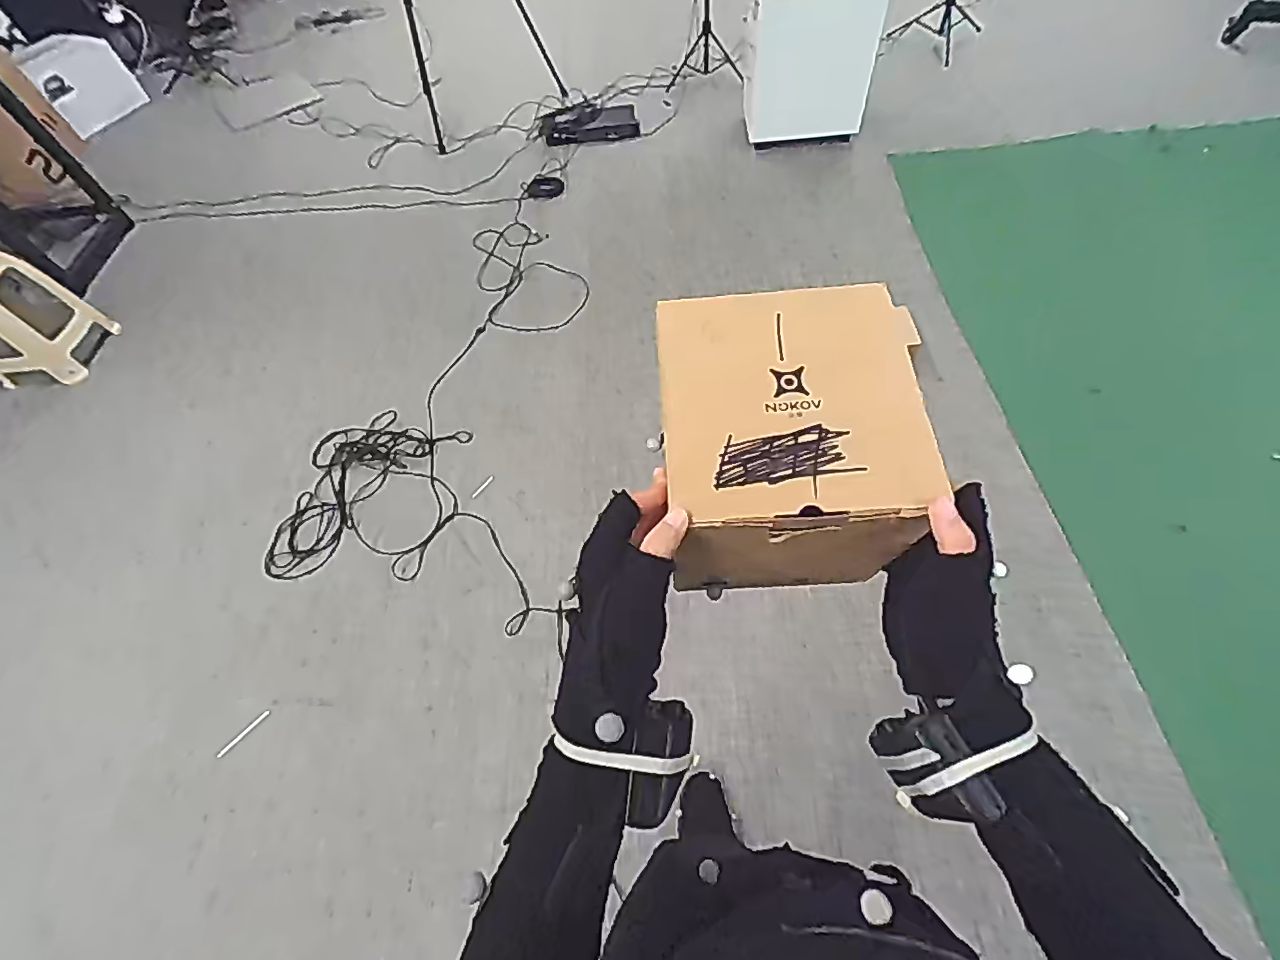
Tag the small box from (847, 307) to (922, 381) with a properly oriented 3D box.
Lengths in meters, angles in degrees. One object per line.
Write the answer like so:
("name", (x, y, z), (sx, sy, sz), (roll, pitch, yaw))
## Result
("small box", (0.802, -0.443, 1.790), (0.168, 0.176, 0.179), (-3, 58, 4))
